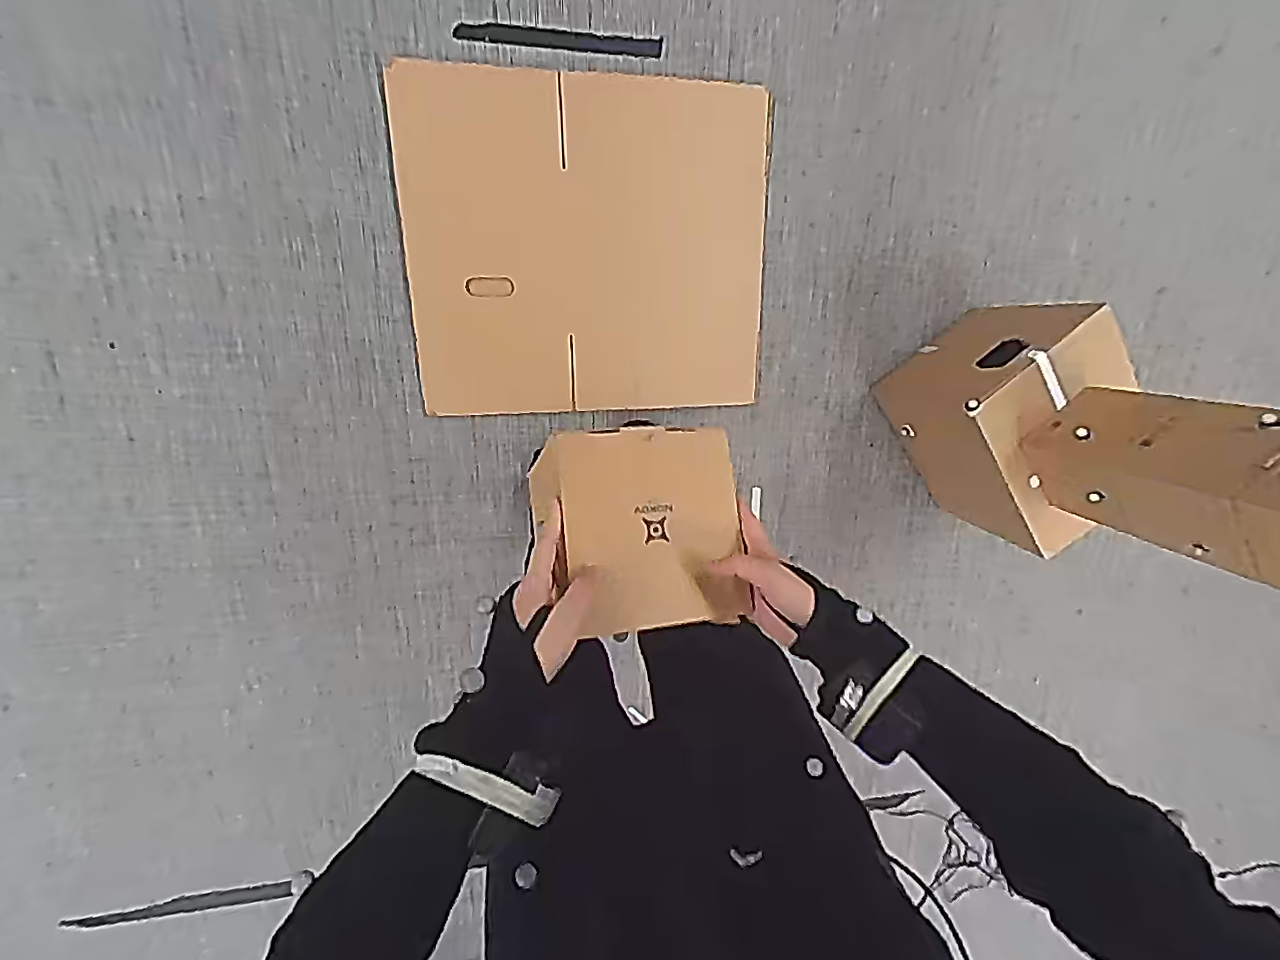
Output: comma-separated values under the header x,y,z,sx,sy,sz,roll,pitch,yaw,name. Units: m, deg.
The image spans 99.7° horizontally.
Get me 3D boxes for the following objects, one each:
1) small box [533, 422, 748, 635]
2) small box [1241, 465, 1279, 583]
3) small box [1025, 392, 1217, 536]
x,y,z,sx,sy,sz,roll,pitch,yaw,name
-0.013,0.051,0.552,0.168,0.176,0.179,-5,79,-18,small box
0.889,0.056,0.639,0.168,0.176,0.179,-40,110,2,small box
0.830,-0.038,0.949,0.168,0.176,0.179,-40,111,3,small box
